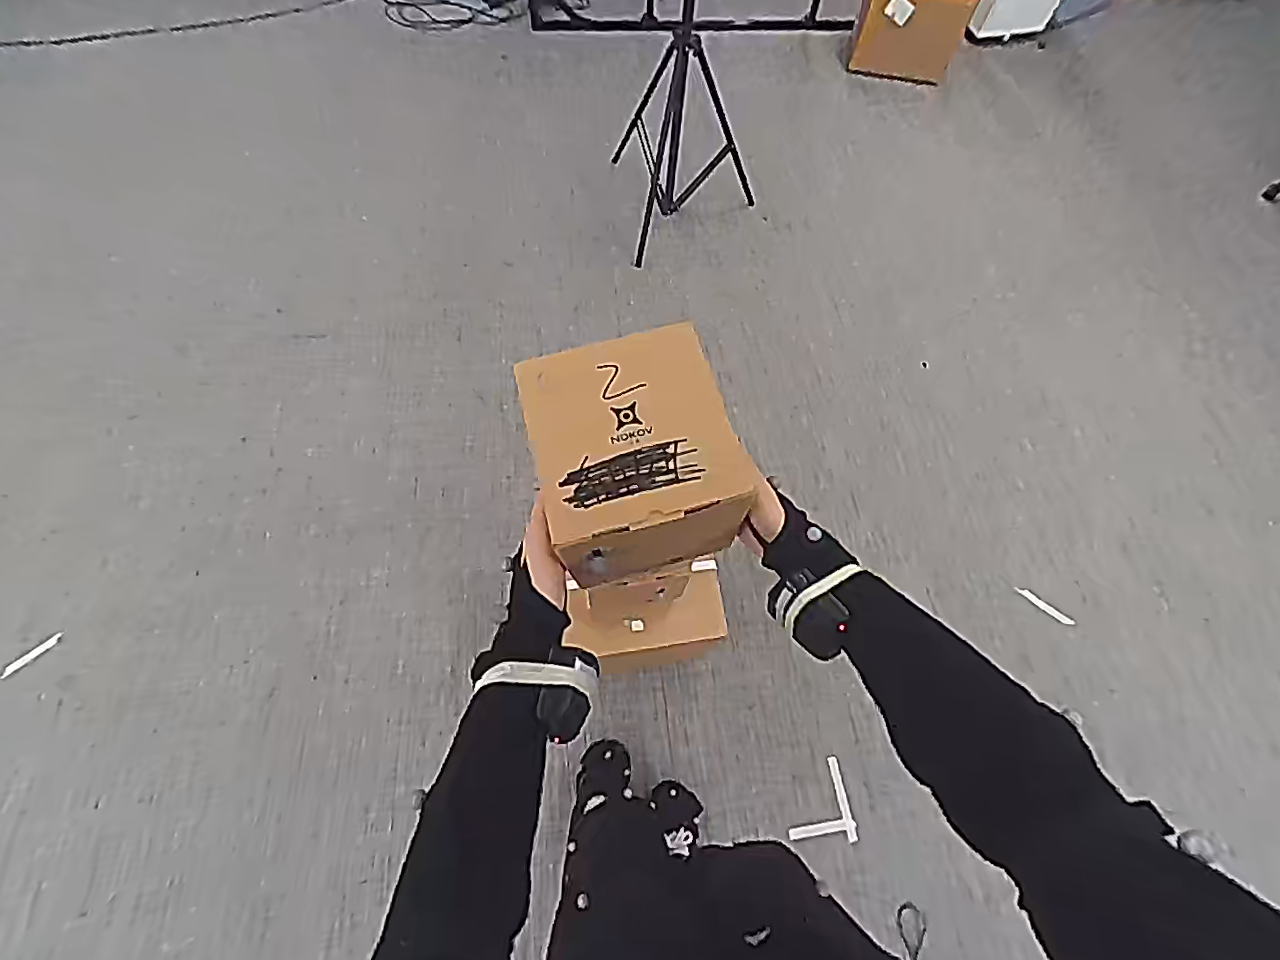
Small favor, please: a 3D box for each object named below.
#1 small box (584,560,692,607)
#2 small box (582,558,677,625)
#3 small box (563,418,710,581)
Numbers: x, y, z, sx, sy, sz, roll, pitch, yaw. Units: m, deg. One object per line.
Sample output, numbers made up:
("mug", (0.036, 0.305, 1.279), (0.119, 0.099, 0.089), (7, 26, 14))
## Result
("small box", (-0.016, 0.112, 0.932), (0.168, 0.176, 0.179), (-8, 64, -8))
("small box", (-0.030, 0.178, 1.080), (0.168, 0.176, 0.179), (-7, 65, -6))
("small box", (-0.012, 0.038, 0.785), (0.168, 0.176, 0.179), (-11, 66, -10))
